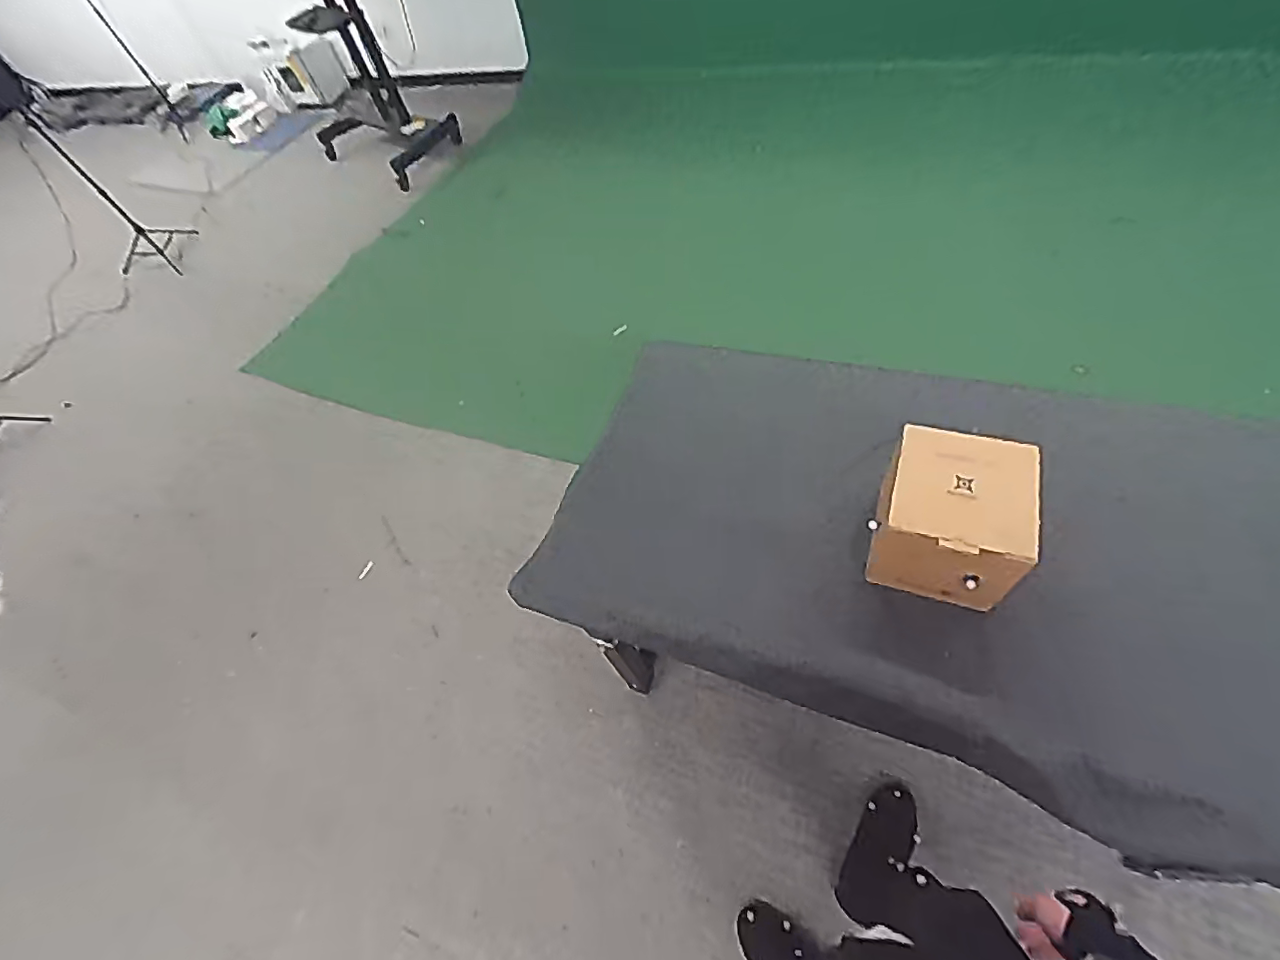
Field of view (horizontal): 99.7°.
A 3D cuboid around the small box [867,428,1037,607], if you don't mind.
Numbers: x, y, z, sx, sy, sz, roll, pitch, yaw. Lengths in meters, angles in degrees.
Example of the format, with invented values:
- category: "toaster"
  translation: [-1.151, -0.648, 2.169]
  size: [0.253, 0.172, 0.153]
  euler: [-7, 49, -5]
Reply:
- category: "small box"
  translation: [0.430, 0.057, 0.764]
  size: [0.168, 0.176, 0.179]
  euler: [14, 59, 18]
